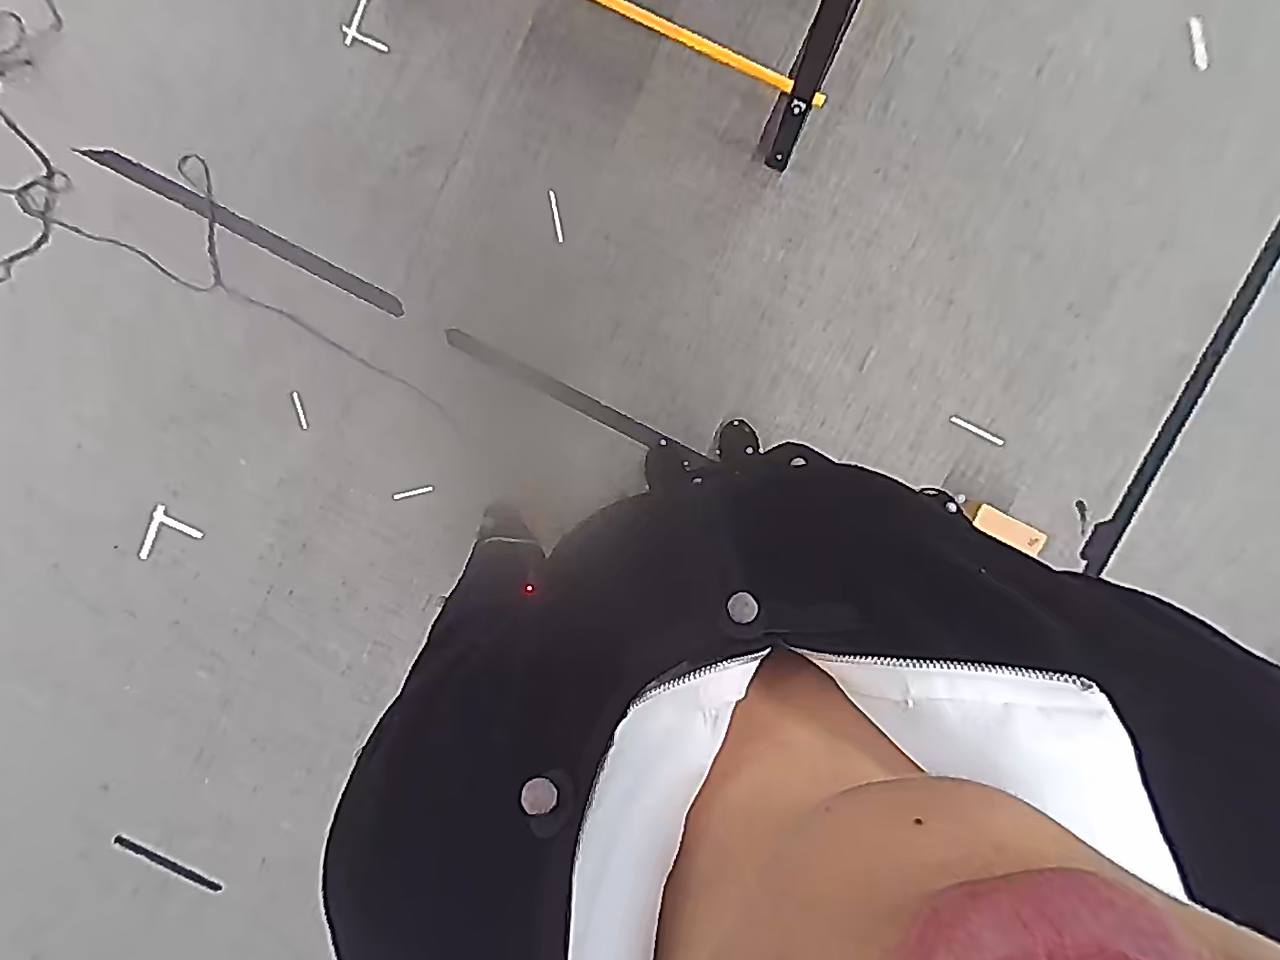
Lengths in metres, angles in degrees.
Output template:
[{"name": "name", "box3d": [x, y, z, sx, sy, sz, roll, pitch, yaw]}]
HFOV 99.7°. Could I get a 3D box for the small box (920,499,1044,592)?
[{"name": "small box", "box3d": [0.860, 0.159, 1.380, 0.179, 0.176, 0.168, 28, 94, 1]}]
